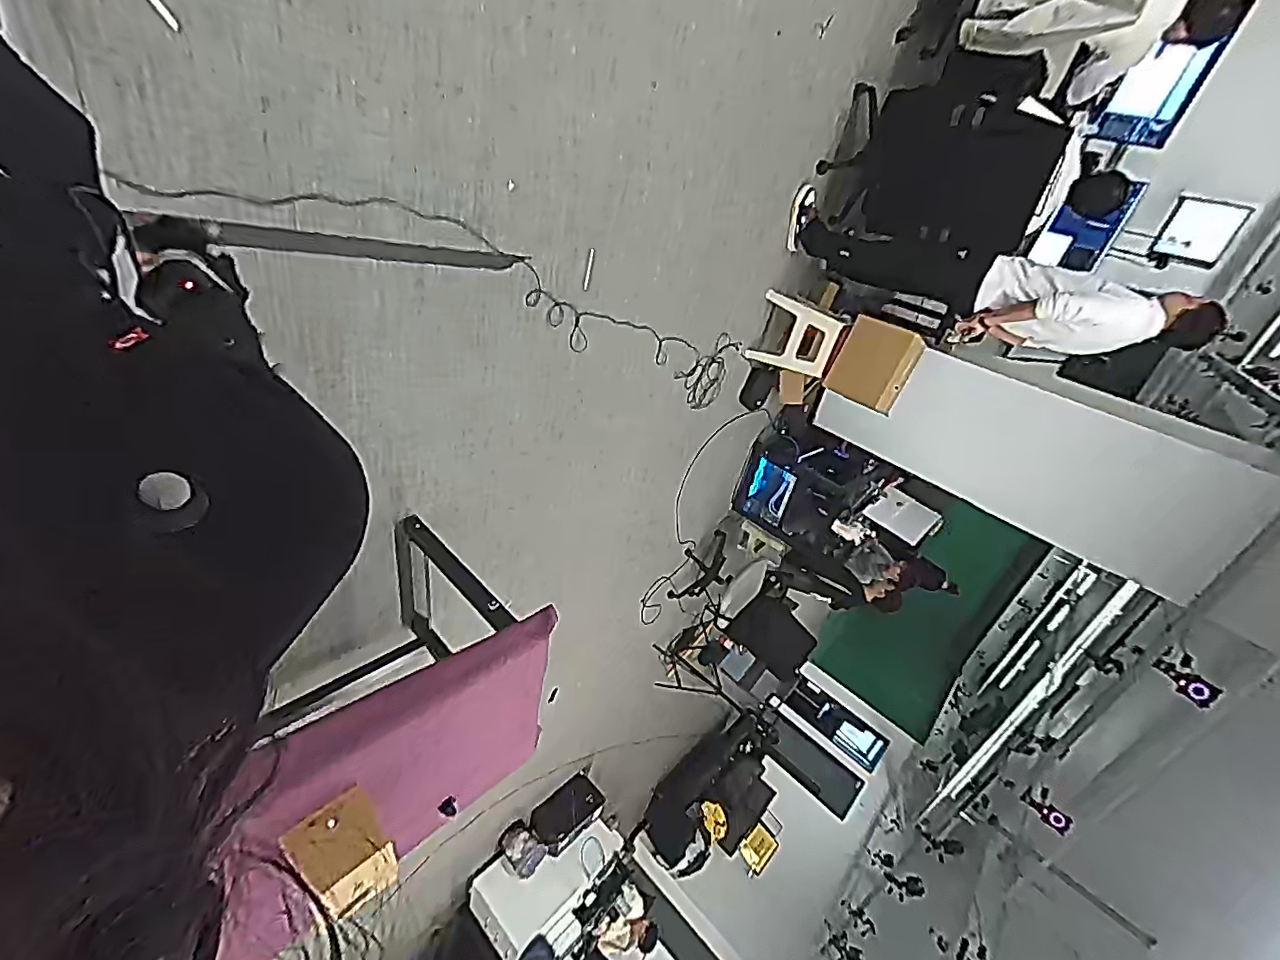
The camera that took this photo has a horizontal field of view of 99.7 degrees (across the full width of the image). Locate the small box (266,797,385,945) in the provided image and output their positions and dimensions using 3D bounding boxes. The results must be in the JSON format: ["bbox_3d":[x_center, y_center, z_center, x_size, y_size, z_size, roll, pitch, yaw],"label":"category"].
[{"bbox_3d":[-0.683,0.843,1.180,0.168,0.176,0.179,-25,137,-42],"label":"small box"}]
